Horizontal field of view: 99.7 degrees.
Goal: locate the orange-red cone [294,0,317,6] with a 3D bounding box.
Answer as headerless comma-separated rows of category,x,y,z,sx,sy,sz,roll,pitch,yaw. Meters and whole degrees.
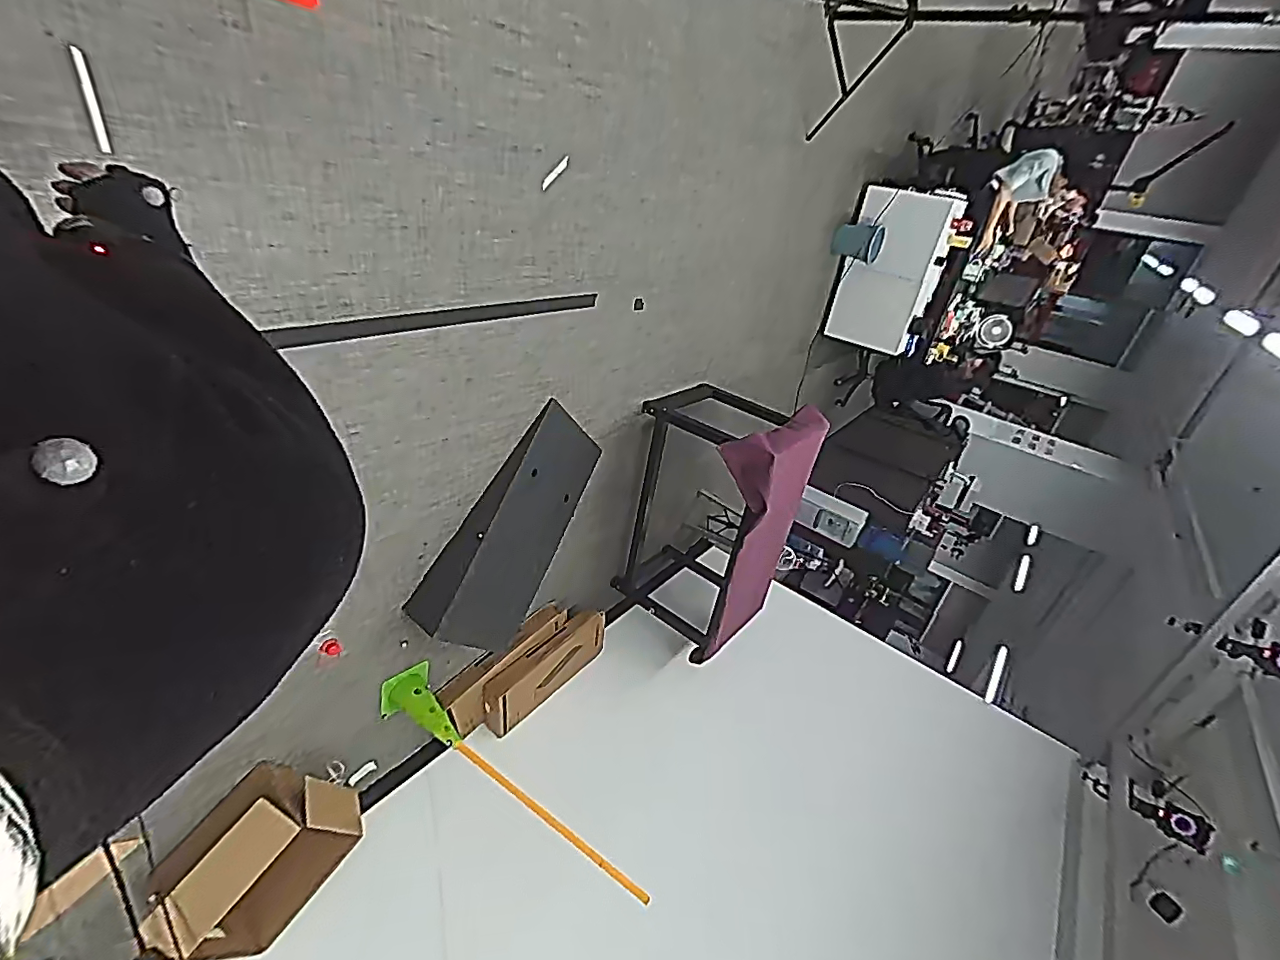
orange-red cone,-0.559,-0.939,0.893,0.198,0.360,0.199,-23,133,-48
